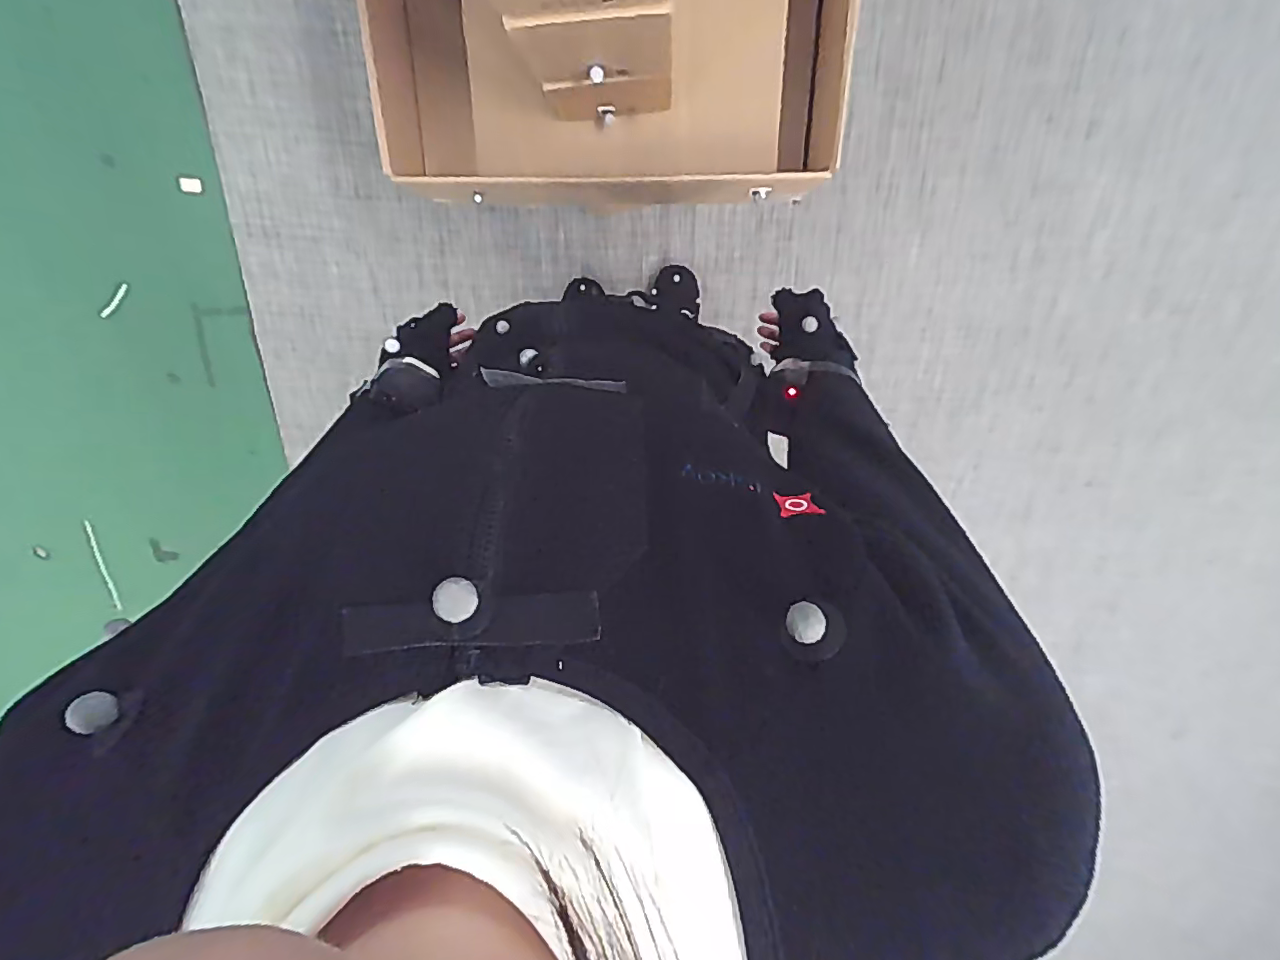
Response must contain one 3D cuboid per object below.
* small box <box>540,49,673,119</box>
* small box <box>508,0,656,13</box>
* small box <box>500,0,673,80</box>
[{"bbox_3d":[-0.044,-0.606,0.713,0.168,0.176,0.179,-3,111,4],"label":"small box"},{"bbox_3d":[-0.059,-0.499,0.403,0.168,0.176,0.179,-1,110,5],"label":"small box"},{"bbox_3d":[-0.051,-0.549,0.559,0.168,0.176,0.179,-1,111,4],"label":"small box"}]
